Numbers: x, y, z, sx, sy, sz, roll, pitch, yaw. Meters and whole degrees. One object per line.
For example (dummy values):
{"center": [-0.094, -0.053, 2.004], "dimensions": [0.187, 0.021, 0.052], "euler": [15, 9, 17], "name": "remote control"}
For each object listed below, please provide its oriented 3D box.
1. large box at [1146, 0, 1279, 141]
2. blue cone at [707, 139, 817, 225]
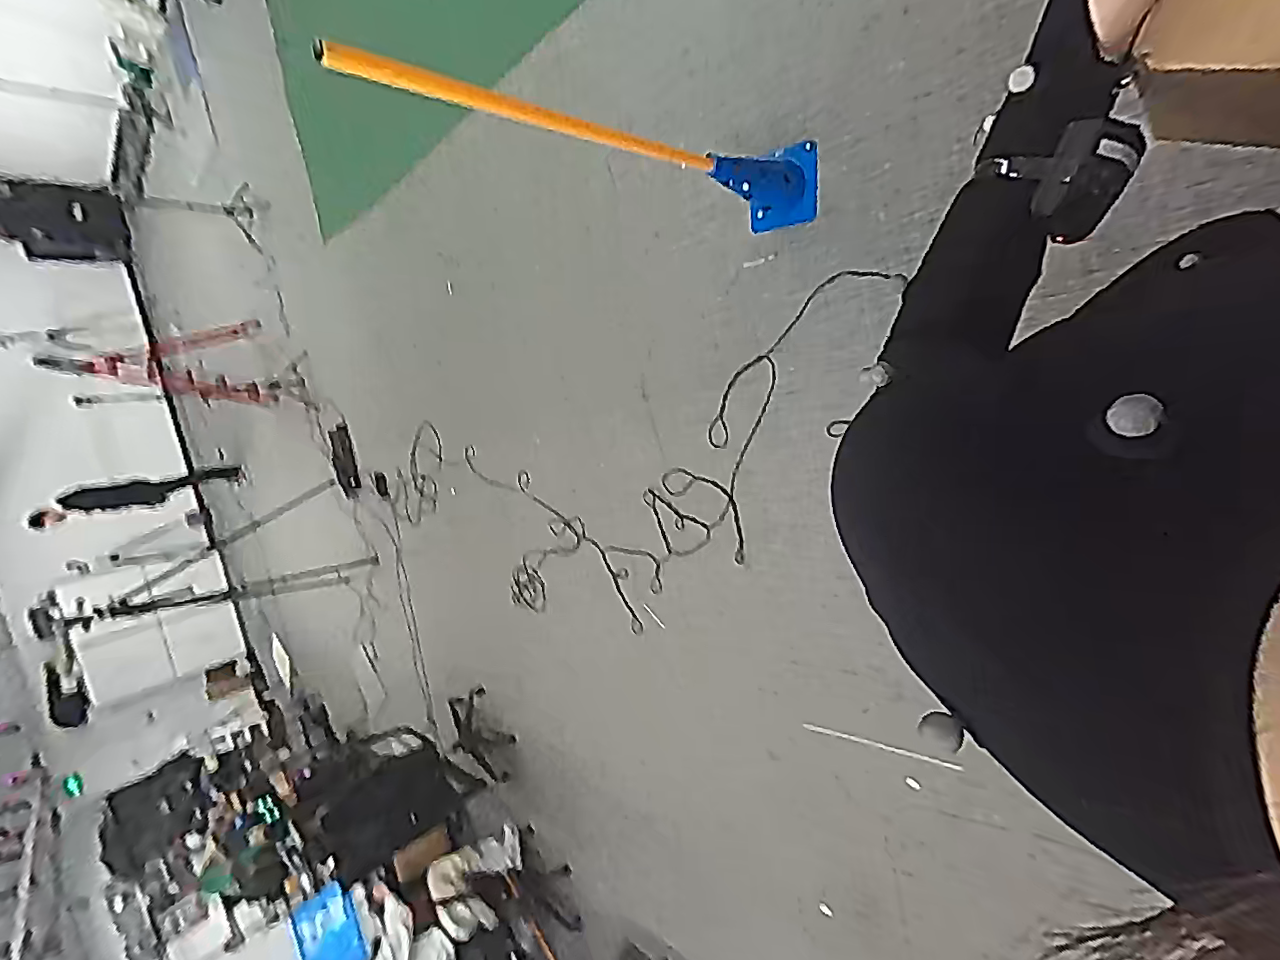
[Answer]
{"center": [0.582, -0.370, 0.270], "dimensions": [0.408, 0.320, 0.320], "euler": [29, 125, 34], "name": "large box"}
{"center": [0.292, -0.786, 1.381], "dimensions": [0.193, 0.380, 0.192], "euler": [9, 108, 40], "name": "blue cone"}
